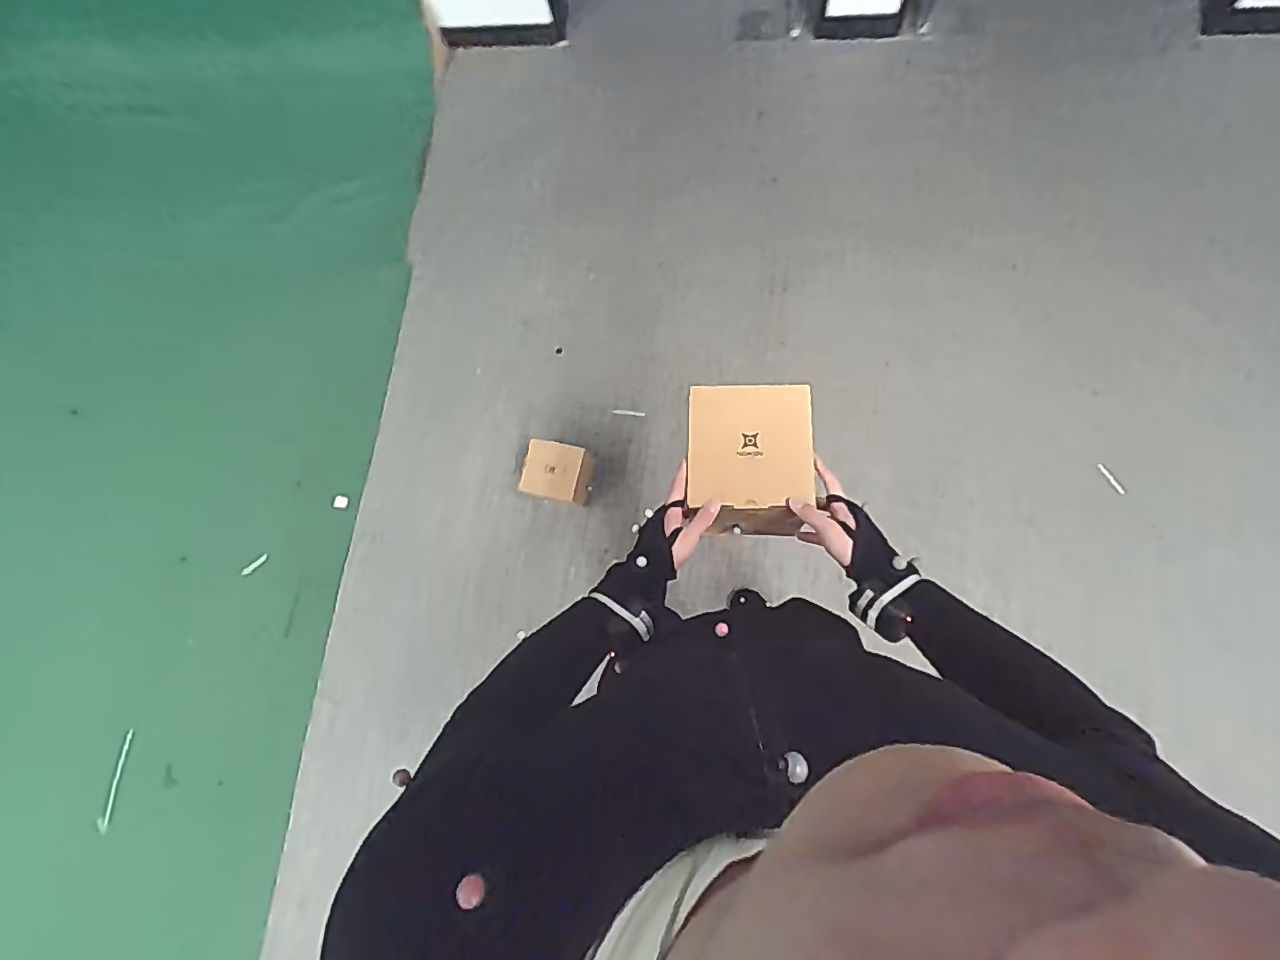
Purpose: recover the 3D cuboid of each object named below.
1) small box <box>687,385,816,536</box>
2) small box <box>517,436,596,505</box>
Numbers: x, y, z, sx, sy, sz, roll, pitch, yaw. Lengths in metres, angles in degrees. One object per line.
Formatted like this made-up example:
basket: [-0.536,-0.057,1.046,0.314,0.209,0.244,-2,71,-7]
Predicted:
small box: [0.153,-0.023,0.790,0.168,0.176,0.179,0,73,7]
small box: [-0.253,-0.024,1.674,0.179,0.176,0.168,13,83,10]
